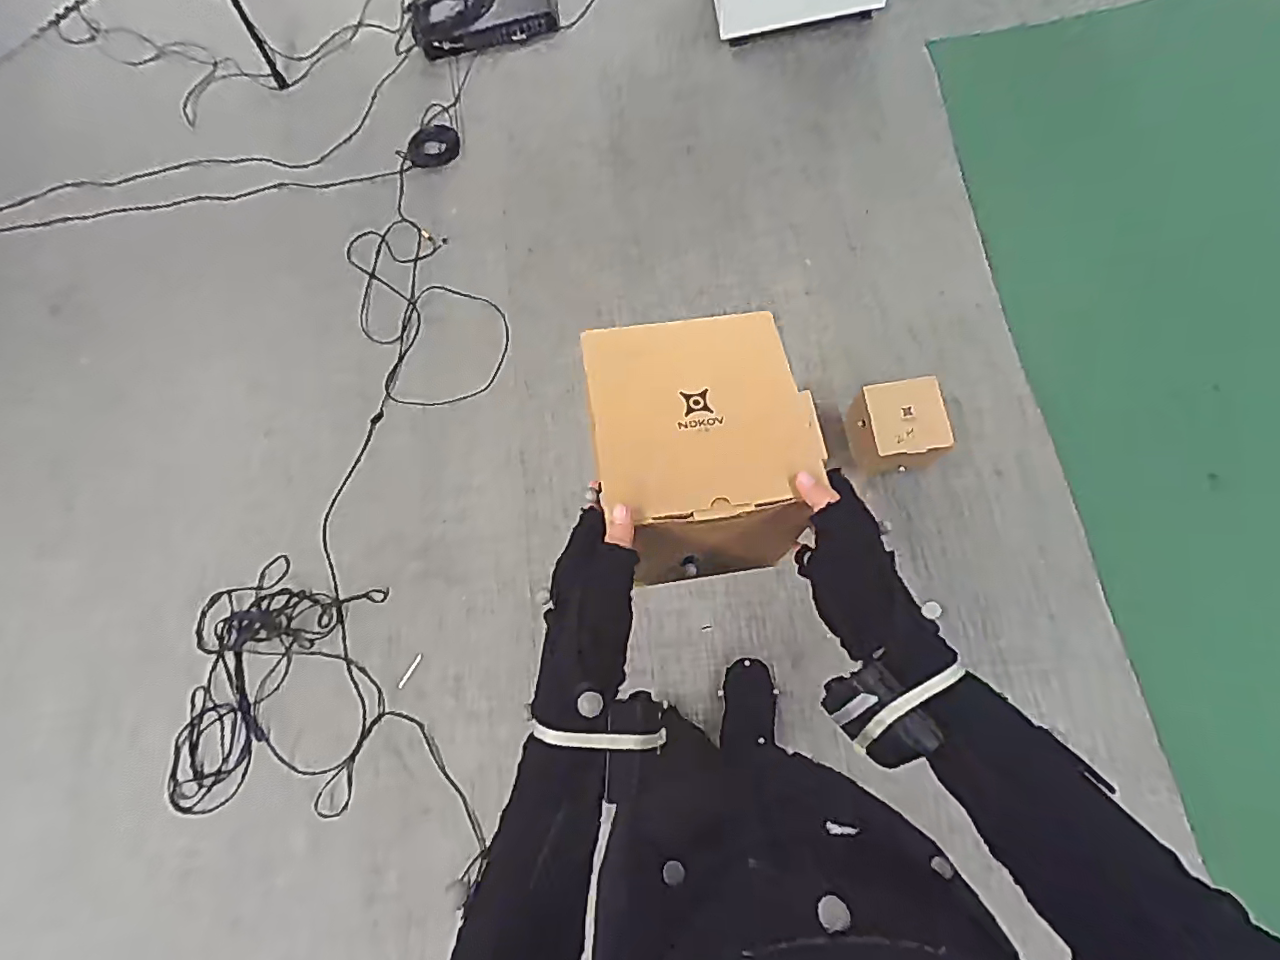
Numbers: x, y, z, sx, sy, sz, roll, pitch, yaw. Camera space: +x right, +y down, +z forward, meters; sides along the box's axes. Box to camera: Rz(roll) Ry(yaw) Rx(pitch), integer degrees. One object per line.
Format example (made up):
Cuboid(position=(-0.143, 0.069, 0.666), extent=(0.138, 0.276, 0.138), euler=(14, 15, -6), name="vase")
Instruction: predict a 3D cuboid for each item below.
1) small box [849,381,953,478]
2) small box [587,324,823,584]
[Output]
Cuboid(position=(0.620, -0.117, 1.310), extent=(0.168, 0.176, 0.179), euler=(-8, 74, 7), name="small box")
Cuboid(position=(0.042, -0.017, 0.504), extent=(0.168, 0.176, 0.179), euler=(-7, 65, -5), name="small box")
